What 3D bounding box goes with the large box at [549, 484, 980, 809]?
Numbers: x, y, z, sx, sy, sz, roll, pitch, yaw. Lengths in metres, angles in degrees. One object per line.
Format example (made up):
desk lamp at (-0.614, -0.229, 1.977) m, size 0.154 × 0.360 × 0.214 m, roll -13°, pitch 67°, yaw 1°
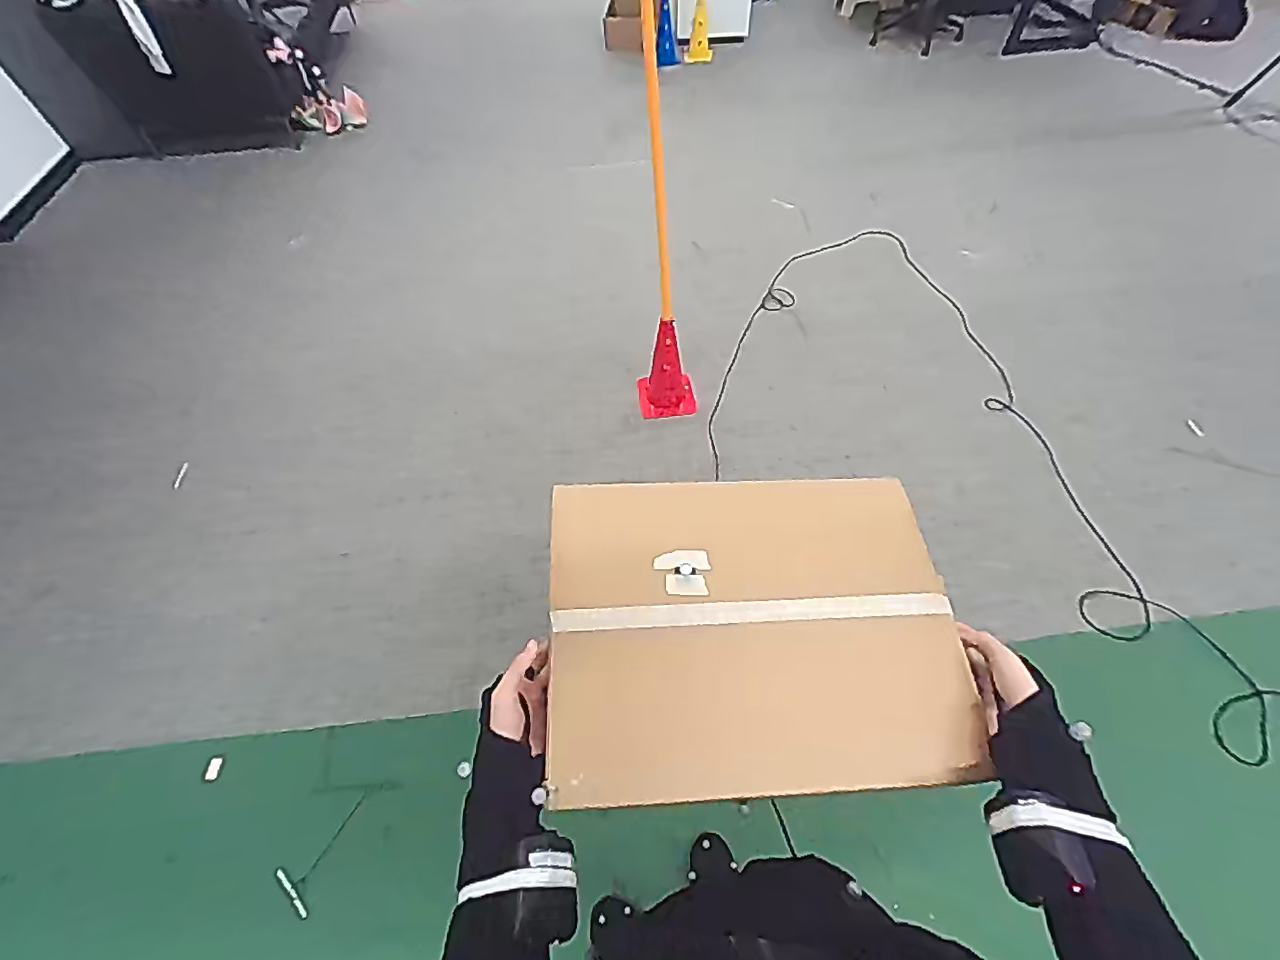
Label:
large box at (0.105, 0.217, 0.685) m, size 0.408 × 0.320 × 0.320 m, roll -1°, pitch 60°, yaw -4°
